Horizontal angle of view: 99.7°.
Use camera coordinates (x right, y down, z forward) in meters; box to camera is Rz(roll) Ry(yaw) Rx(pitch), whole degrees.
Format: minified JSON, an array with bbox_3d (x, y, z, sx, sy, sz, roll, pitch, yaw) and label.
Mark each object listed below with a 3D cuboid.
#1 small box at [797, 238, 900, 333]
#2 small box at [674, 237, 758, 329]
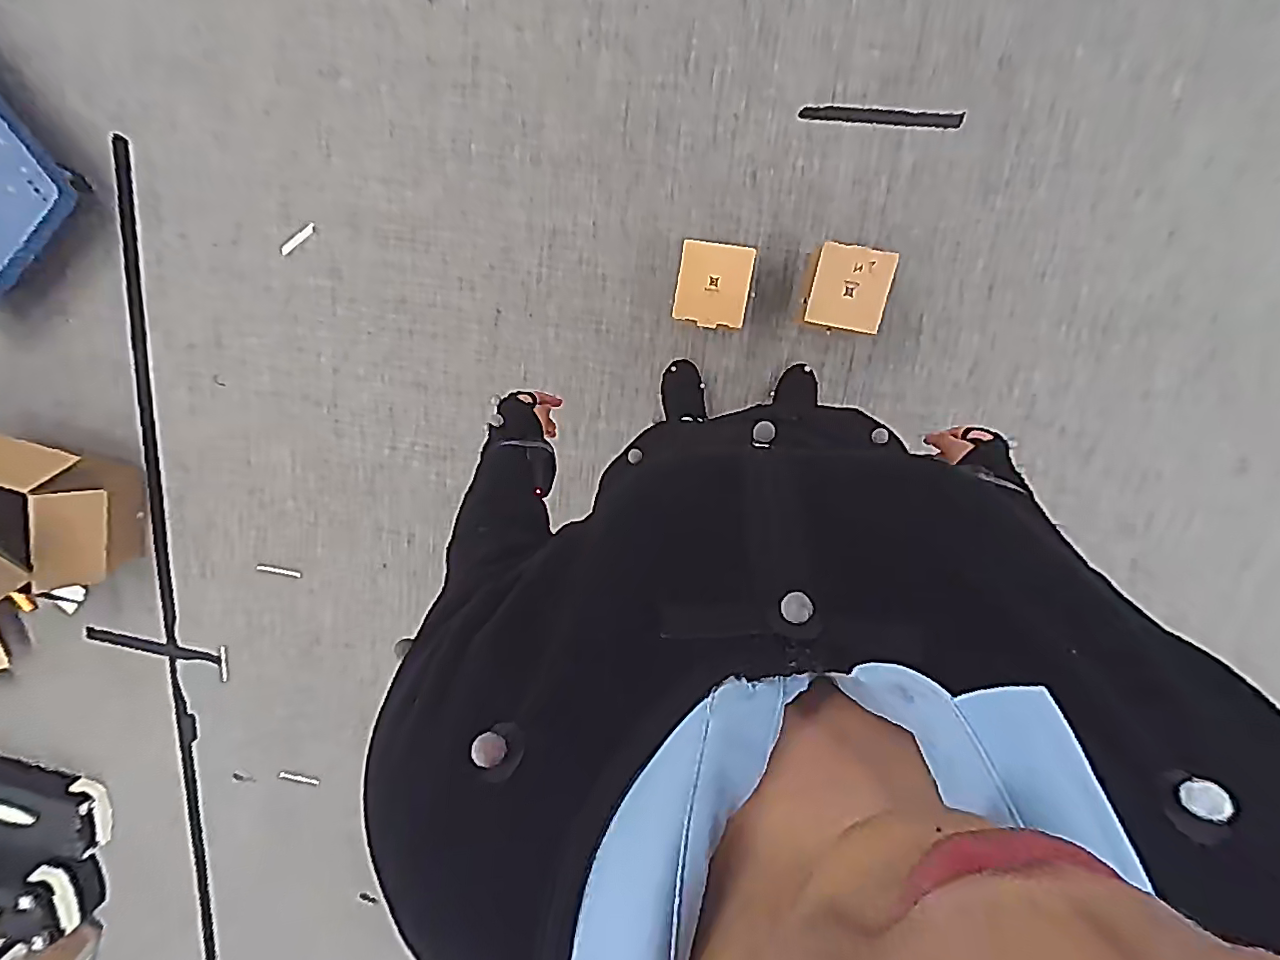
[{"bbox_3d":[0.476,-0.446,1.266,0.168,0.176,0.179,12,105,4],"label":"small box"},{"bbox_3d":[0.180,-0.467,1.303,0.168,0.176,0.179,10,105,5],"label":"small box"}]
